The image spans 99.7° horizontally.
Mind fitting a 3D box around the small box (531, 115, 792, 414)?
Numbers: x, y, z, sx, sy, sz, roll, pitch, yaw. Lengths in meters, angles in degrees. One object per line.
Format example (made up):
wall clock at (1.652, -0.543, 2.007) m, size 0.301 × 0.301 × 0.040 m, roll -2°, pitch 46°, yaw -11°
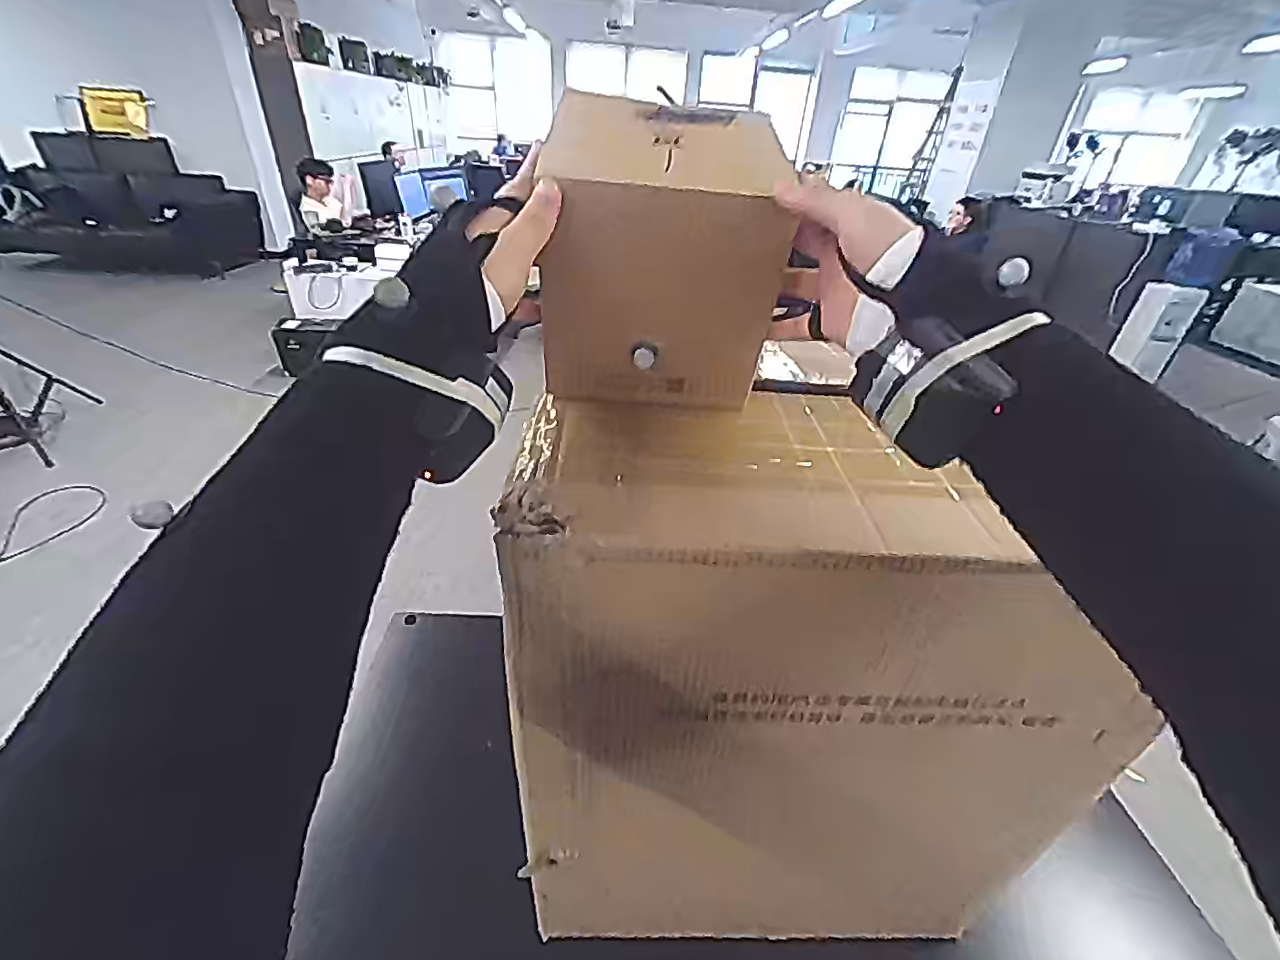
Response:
small box at (0.009, -0.177, 0.446) m, size 0.168 × 0.176 × 0.179 m, roll 3°, pitch 46°, yaw -2°
